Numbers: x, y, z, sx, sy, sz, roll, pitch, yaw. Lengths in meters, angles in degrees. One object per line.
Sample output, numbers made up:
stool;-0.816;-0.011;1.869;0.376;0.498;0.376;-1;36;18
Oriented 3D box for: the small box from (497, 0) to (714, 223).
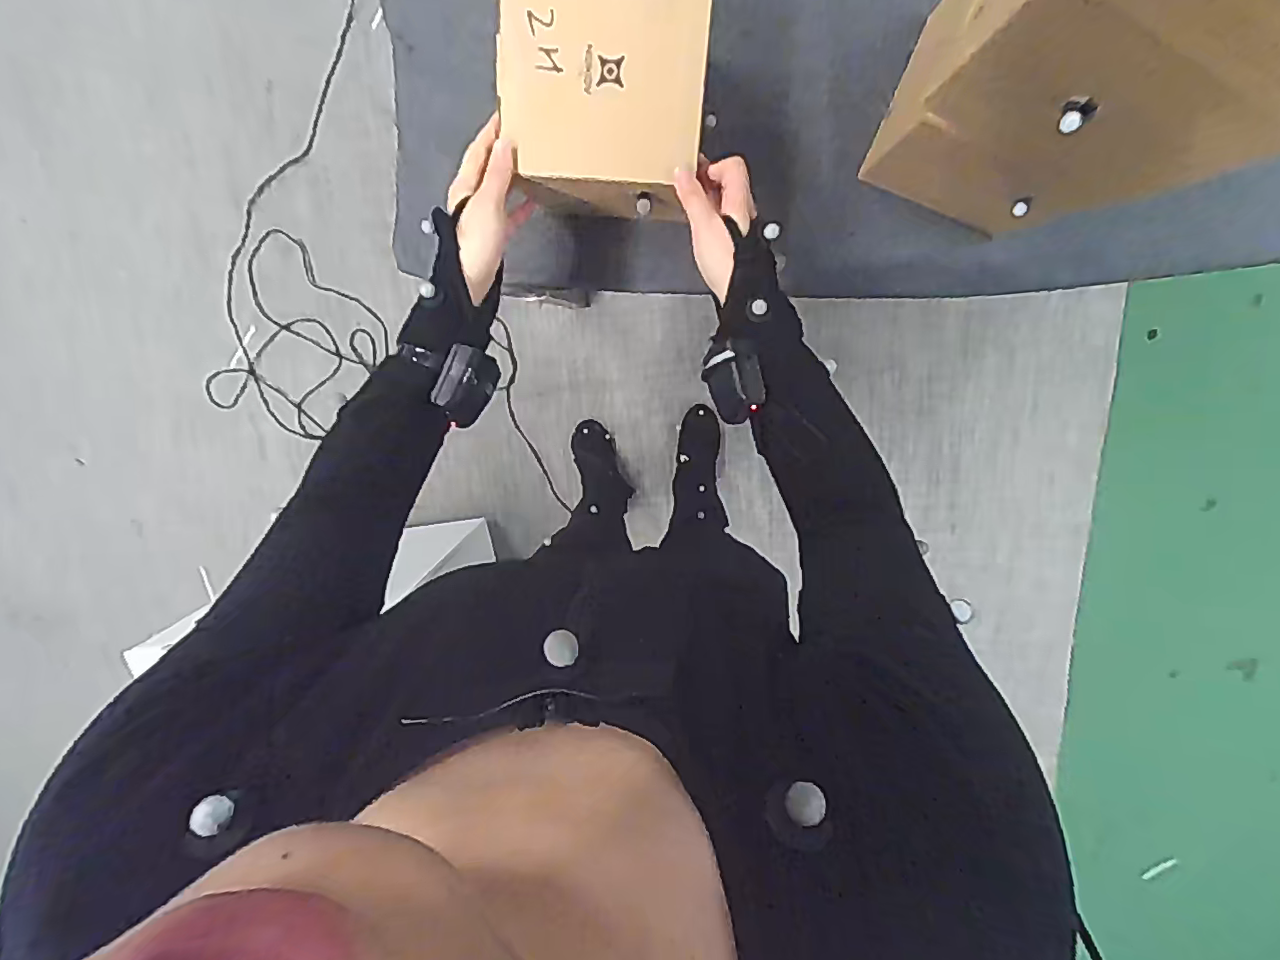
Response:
small box;-0.028;-0.357;0.527;0.179;0.176;0.168;6;106;3
